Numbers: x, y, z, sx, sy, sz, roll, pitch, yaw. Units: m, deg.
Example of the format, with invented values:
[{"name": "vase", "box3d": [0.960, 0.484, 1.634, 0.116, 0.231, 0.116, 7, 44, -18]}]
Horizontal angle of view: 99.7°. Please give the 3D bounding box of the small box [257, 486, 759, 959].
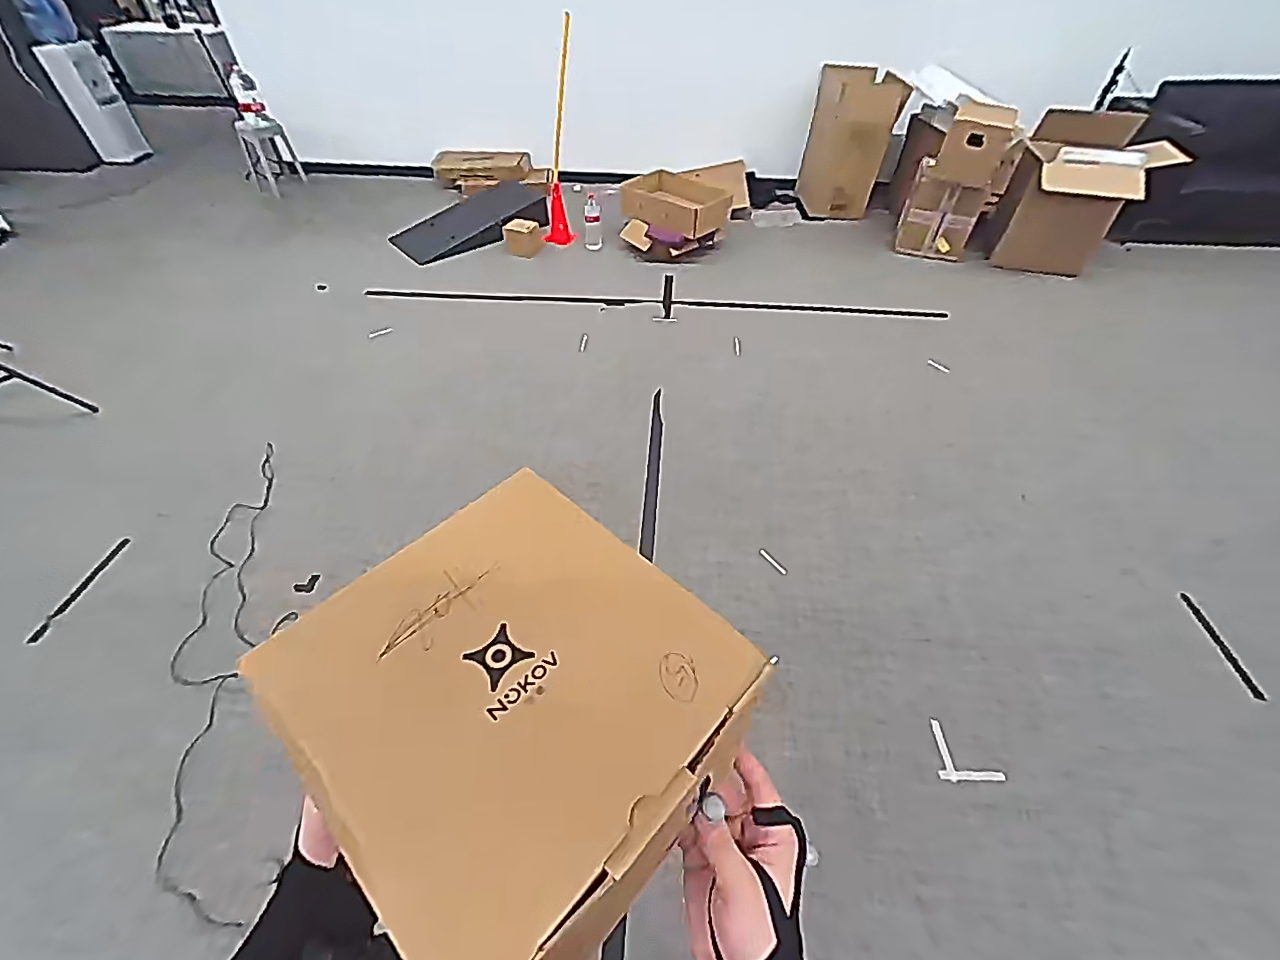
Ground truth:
[{"name": "small box", "box3d": [-0.060, 0.143, 0.308, 0.179, 0.176, 0.168, 33, 55, 28]}]
